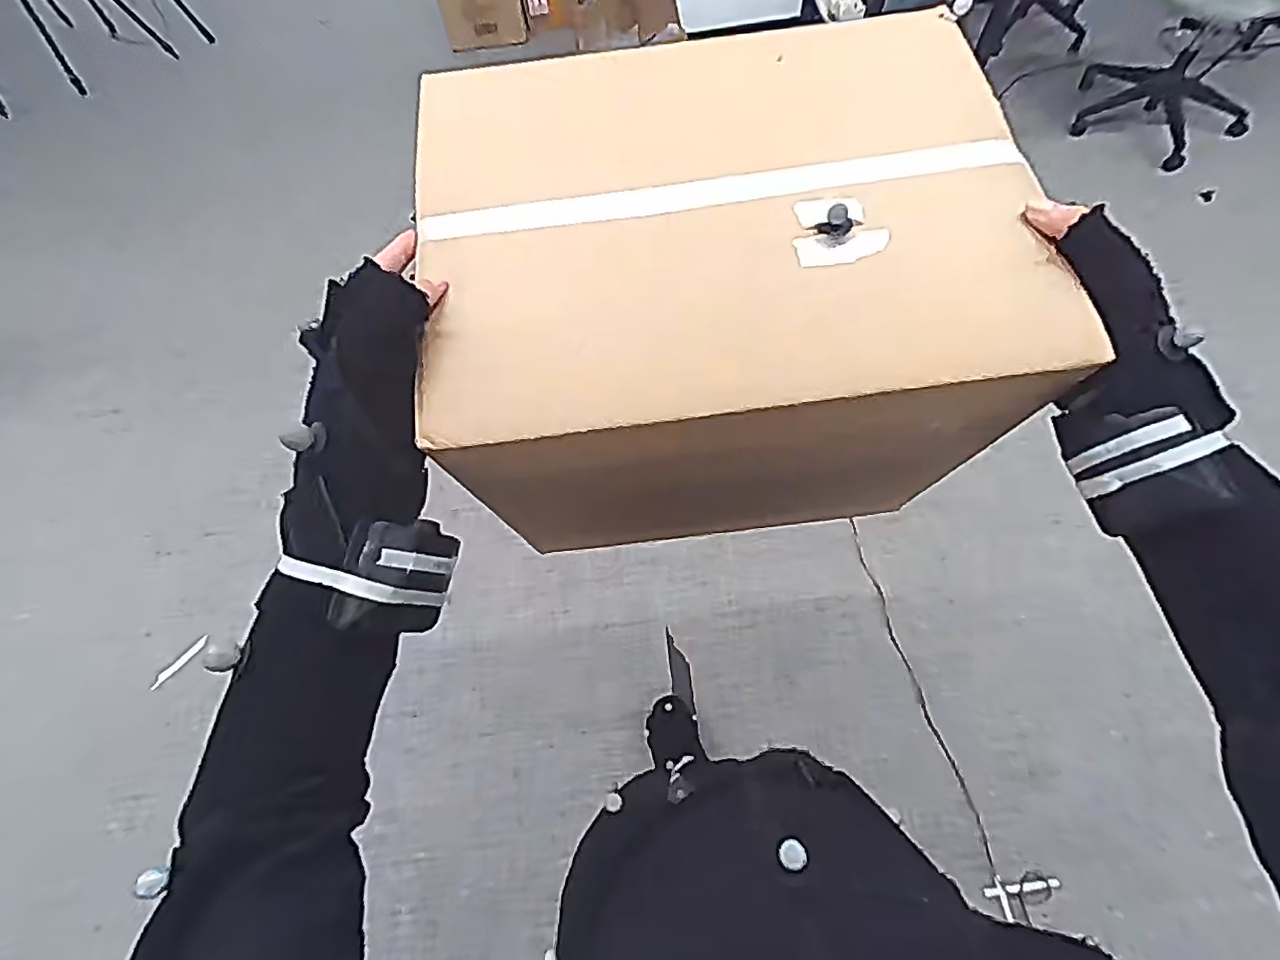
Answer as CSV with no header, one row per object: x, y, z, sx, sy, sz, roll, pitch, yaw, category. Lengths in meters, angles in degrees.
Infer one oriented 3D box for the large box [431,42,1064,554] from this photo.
0.054,-0.134,0.523,0.408,0.320,0.320,-8,71,0,large box
